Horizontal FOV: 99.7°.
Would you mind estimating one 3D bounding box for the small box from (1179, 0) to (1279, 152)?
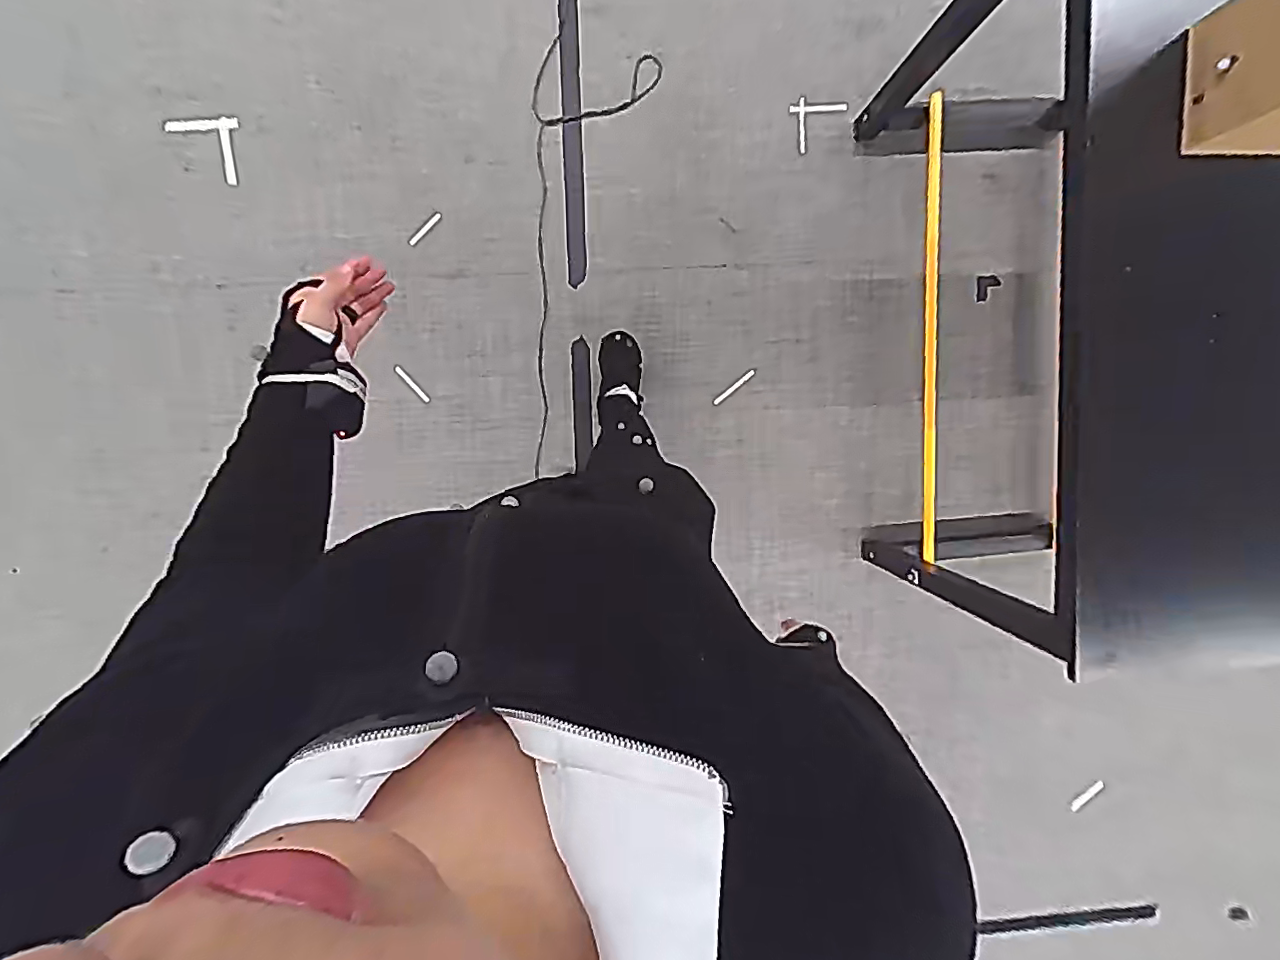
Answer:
[{"bbox_3d":[0.837,-0.531,0.666,0.179,0.176,0.168,-2,95,-3],"label":"small box"}]
